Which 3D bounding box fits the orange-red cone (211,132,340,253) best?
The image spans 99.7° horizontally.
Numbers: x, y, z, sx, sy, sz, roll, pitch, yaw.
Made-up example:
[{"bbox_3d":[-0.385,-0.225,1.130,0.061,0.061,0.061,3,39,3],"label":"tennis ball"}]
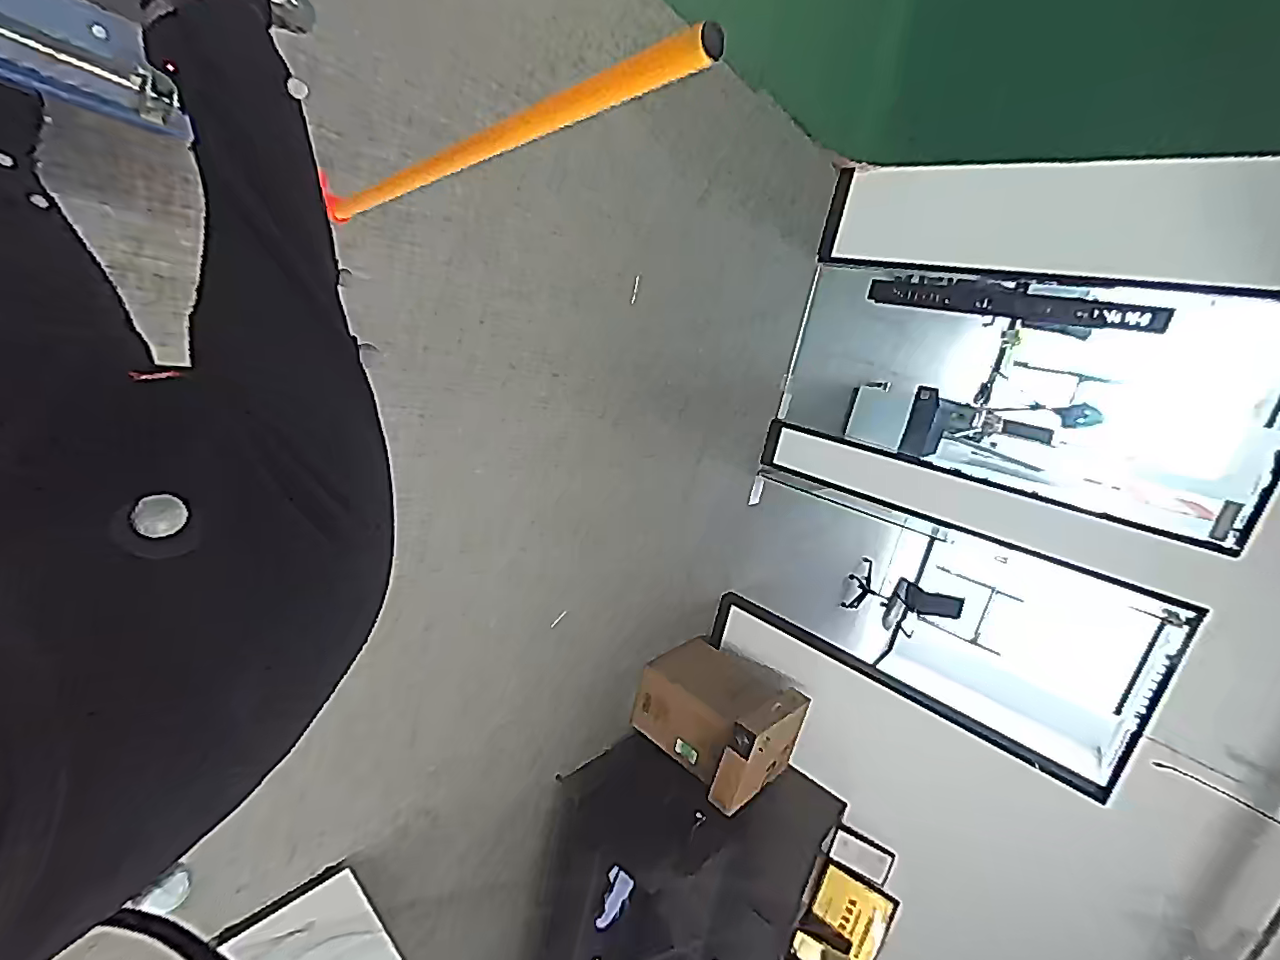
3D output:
[{"bbox_3d":[-0.683,-0.559,1.068,0.199,0.360,0.198,-3,111,-49],"label":"orange-red cone"}]
